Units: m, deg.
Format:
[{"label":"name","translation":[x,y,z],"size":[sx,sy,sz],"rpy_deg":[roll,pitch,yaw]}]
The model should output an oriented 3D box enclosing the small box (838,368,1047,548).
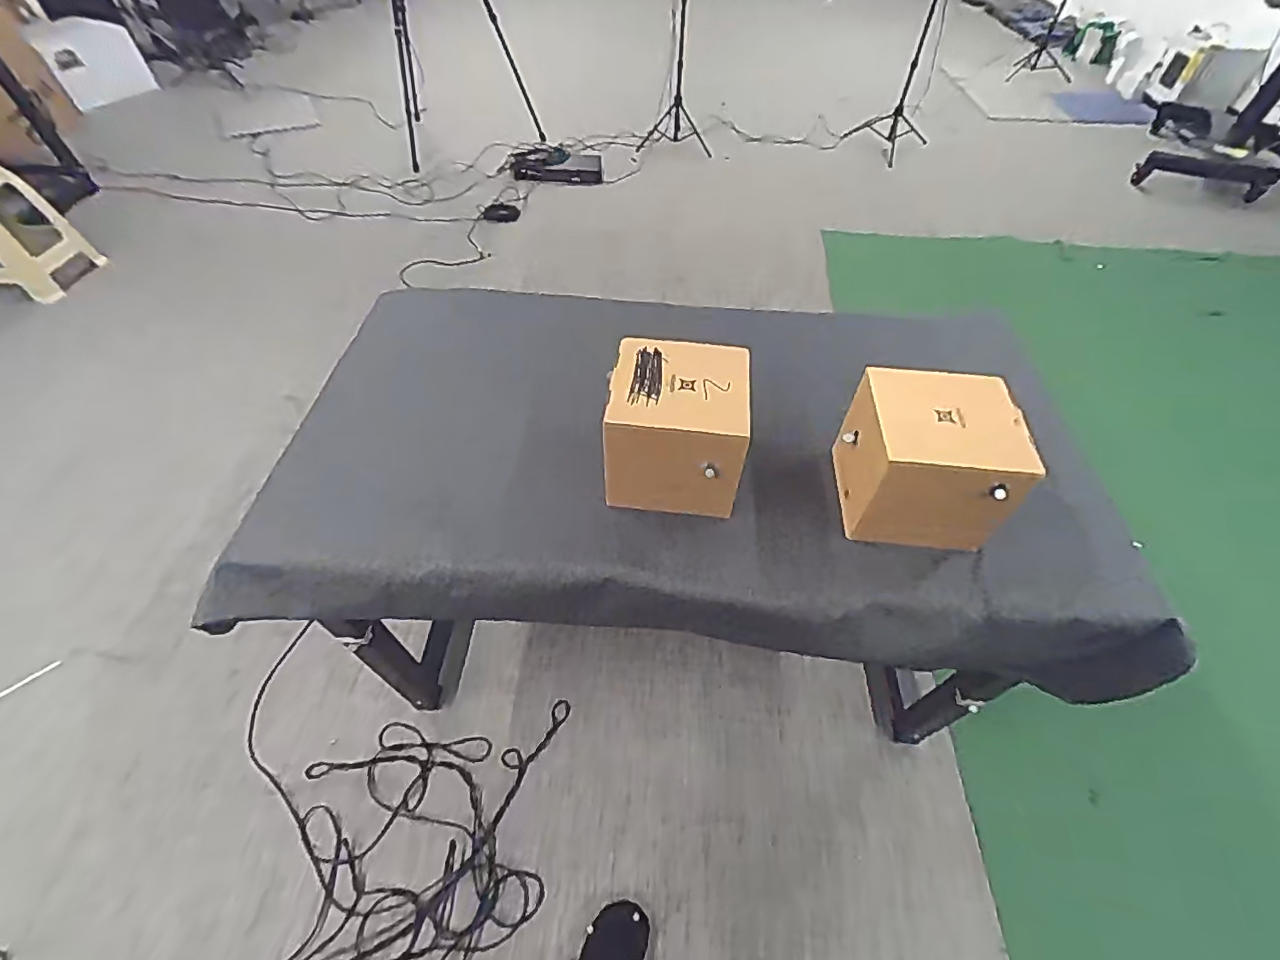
[{"label":"small box","translation":[0.371,-0.026,0.710],"size":[0.179,0.176,0.168],"rpy_deg":[5,52,3]}]
